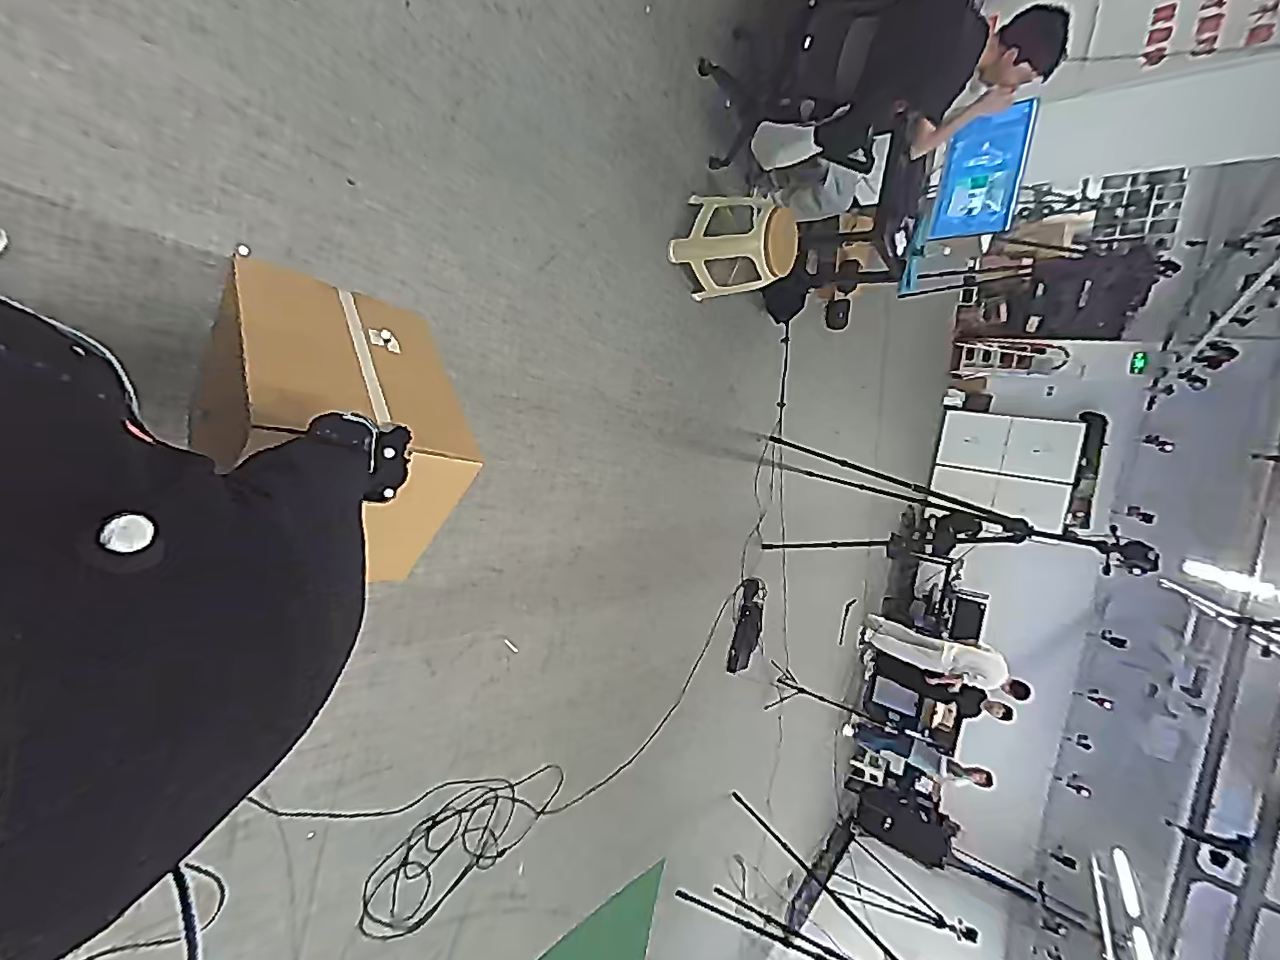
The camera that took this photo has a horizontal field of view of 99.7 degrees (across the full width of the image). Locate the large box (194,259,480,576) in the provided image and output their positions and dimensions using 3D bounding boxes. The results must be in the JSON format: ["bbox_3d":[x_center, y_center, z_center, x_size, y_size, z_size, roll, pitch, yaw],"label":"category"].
[{"bbox_3d":[-0.533,-0.088,0.923,0.320,0.408,0.320,11,129,-48],"label":"large box"}]
